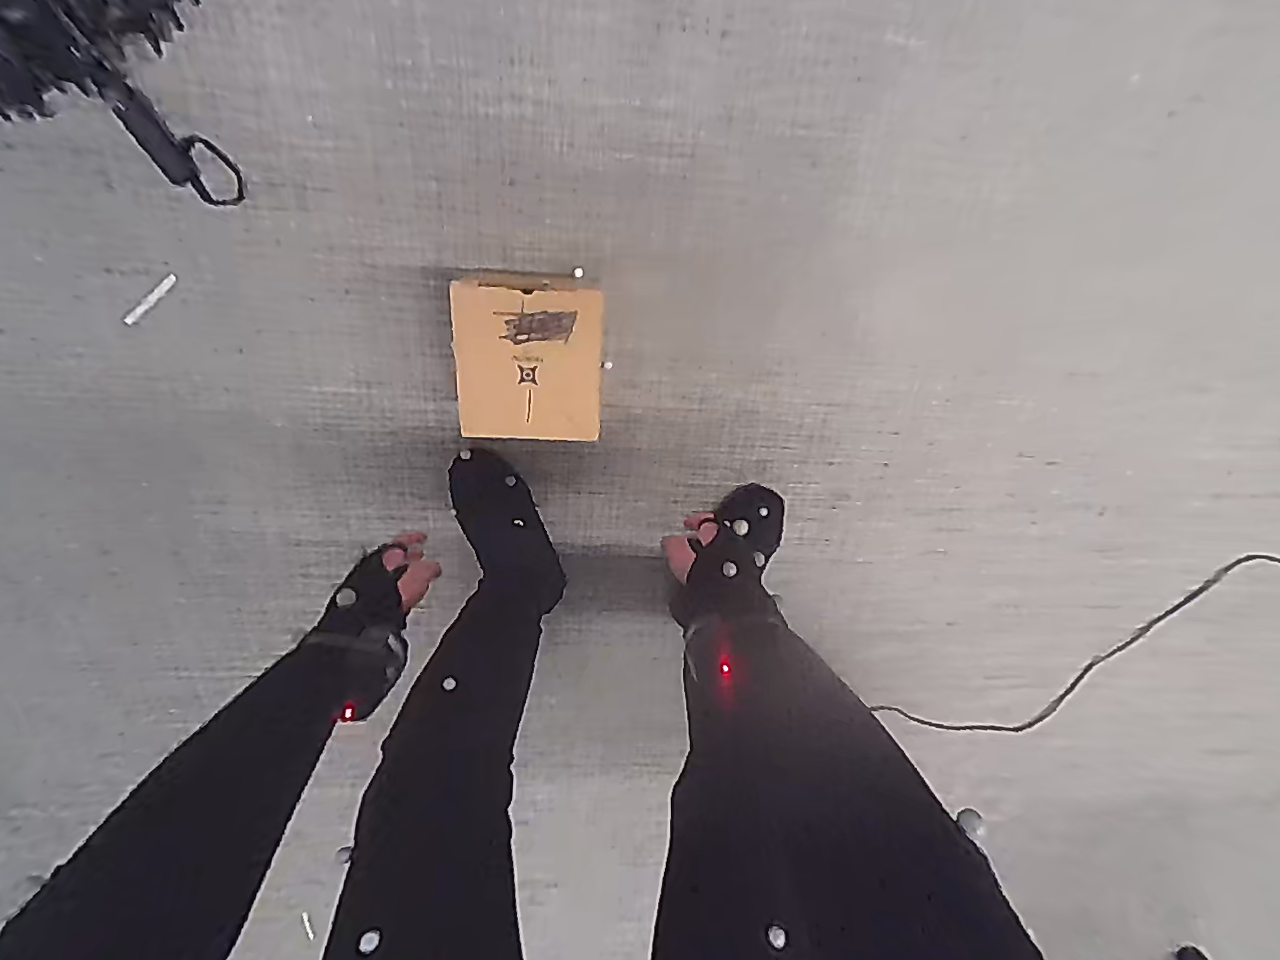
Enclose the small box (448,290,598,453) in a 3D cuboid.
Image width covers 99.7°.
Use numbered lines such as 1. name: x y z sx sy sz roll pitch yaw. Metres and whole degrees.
1. small box: -0.141 -0.148 0.706 0.168 0.176 0.179 2 115 -4
